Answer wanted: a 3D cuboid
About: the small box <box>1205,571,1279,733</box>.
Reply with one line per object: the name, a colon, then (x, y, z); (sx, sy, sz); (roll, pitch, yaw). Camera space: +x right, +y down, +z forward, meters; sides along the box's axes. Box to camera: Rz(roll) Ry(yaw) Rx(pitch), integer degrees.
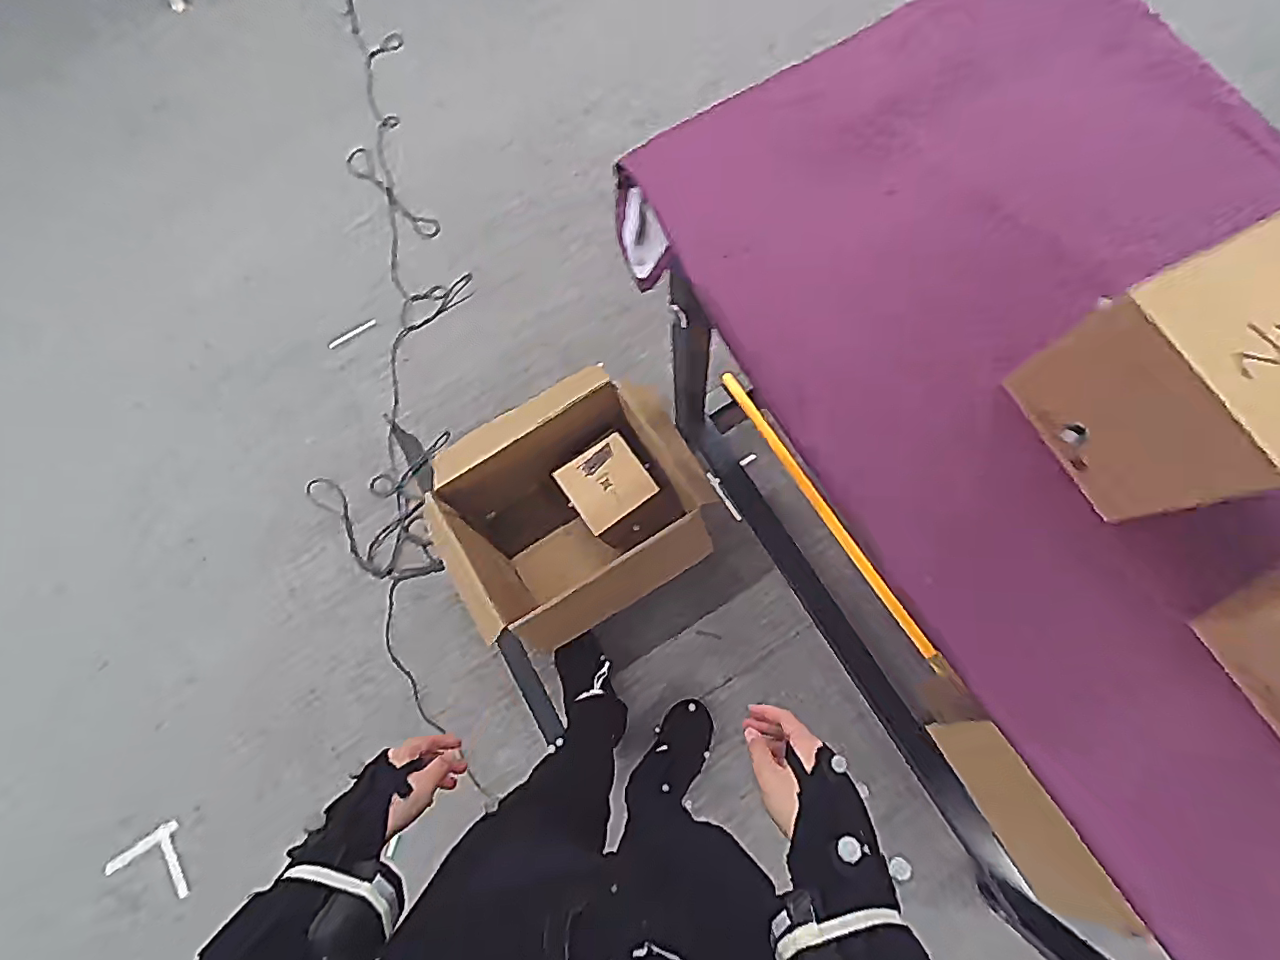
small box: (0.603, 0.133, 0.393); (0.179, 0.176, 0.168); (-28, 75, -3)
